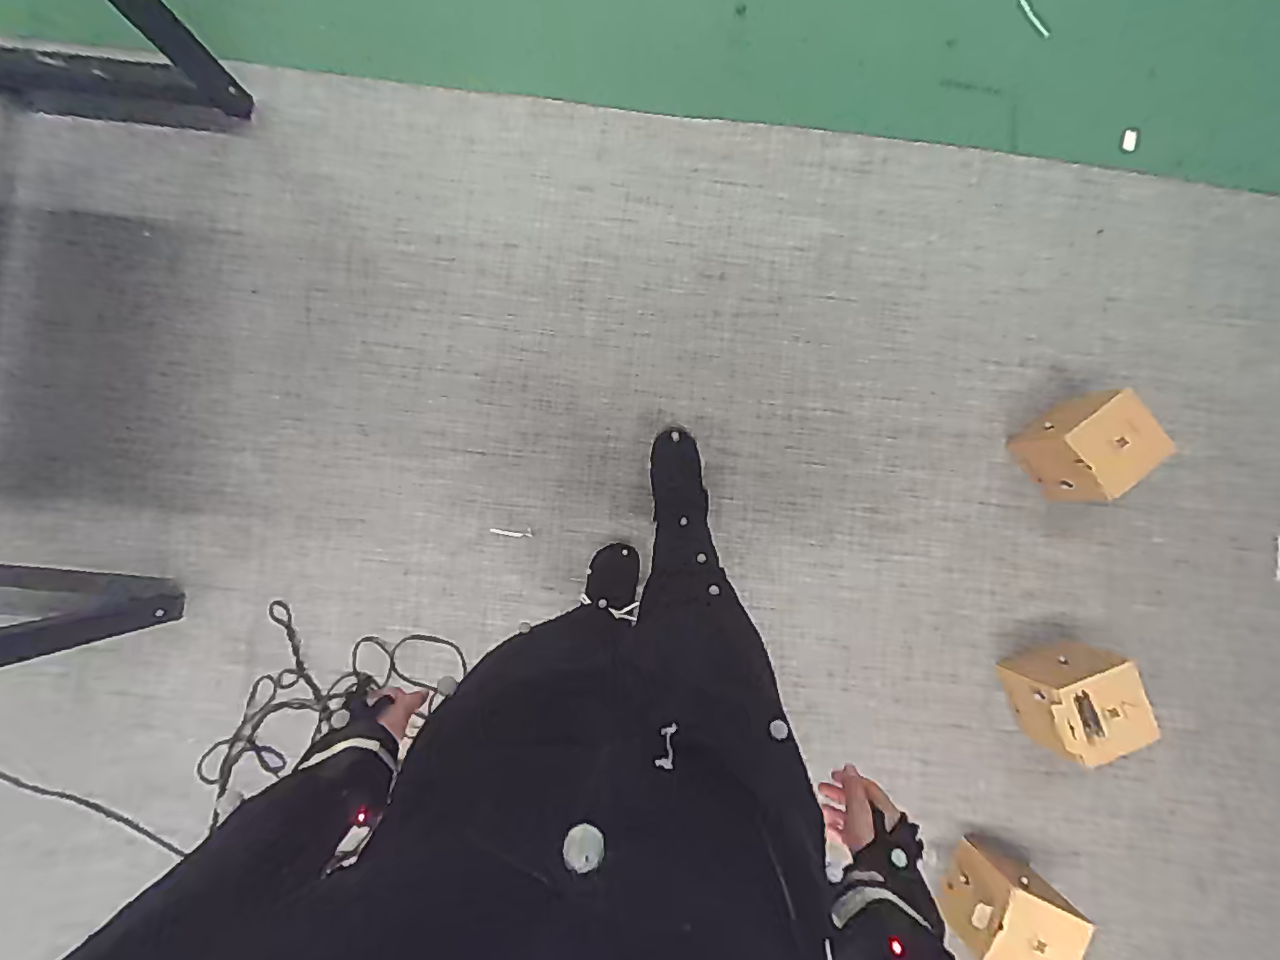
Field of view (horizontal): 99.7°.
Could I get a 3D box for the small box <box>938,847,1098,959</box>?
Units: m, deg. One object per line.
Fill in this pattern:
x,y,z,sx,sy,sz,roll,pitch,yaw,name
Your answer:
0.761,0.904,1.108,0.179,0.176,0.168,26,87,0,small box

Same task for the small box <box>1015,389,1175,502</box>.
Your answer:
0.954,-0.064,1.158,0.179,0.176,0.168,-37,90,-4,small box
